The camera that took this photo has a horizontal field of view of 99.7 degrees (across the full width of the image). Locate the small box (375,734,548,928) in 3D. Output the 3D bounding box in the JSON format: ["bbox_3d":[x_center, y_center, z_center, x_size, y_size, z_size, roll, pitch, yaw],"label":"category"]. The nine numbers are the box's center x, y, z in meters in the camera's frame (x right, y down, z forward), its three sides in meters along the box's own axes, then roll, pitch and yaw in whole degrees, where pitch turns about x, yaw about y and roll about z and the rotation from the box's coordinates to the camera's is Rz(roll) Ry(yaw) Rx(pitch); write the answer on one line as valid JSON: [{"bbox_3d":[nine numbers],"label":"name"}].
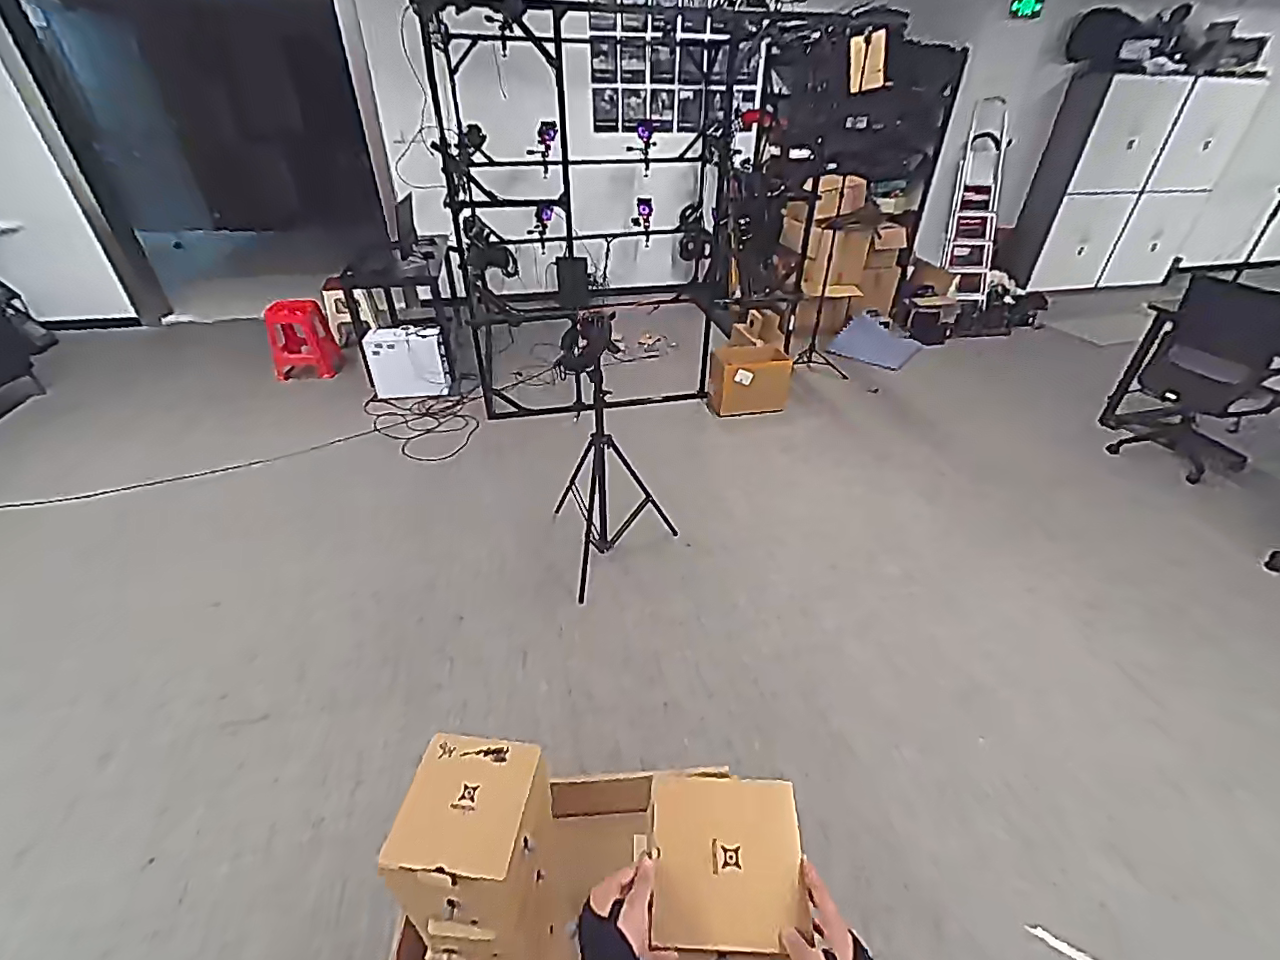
[{"bbox_3d":[-0.235,0.497,0.768,0.168,0.176,0.179,5,35,6],"label":"small box"}]

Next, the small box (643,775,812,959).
[{"bbox_3d":[0.096,0.485,0.673,0.179,0.176,0.168,2,46,2],"label":"small box"}]

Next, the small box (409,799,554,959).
[{"bbox_3d":[-0.237,0.630,0.865,0.168,0.176,0.179,2,34,3],"label":"small box"}]
